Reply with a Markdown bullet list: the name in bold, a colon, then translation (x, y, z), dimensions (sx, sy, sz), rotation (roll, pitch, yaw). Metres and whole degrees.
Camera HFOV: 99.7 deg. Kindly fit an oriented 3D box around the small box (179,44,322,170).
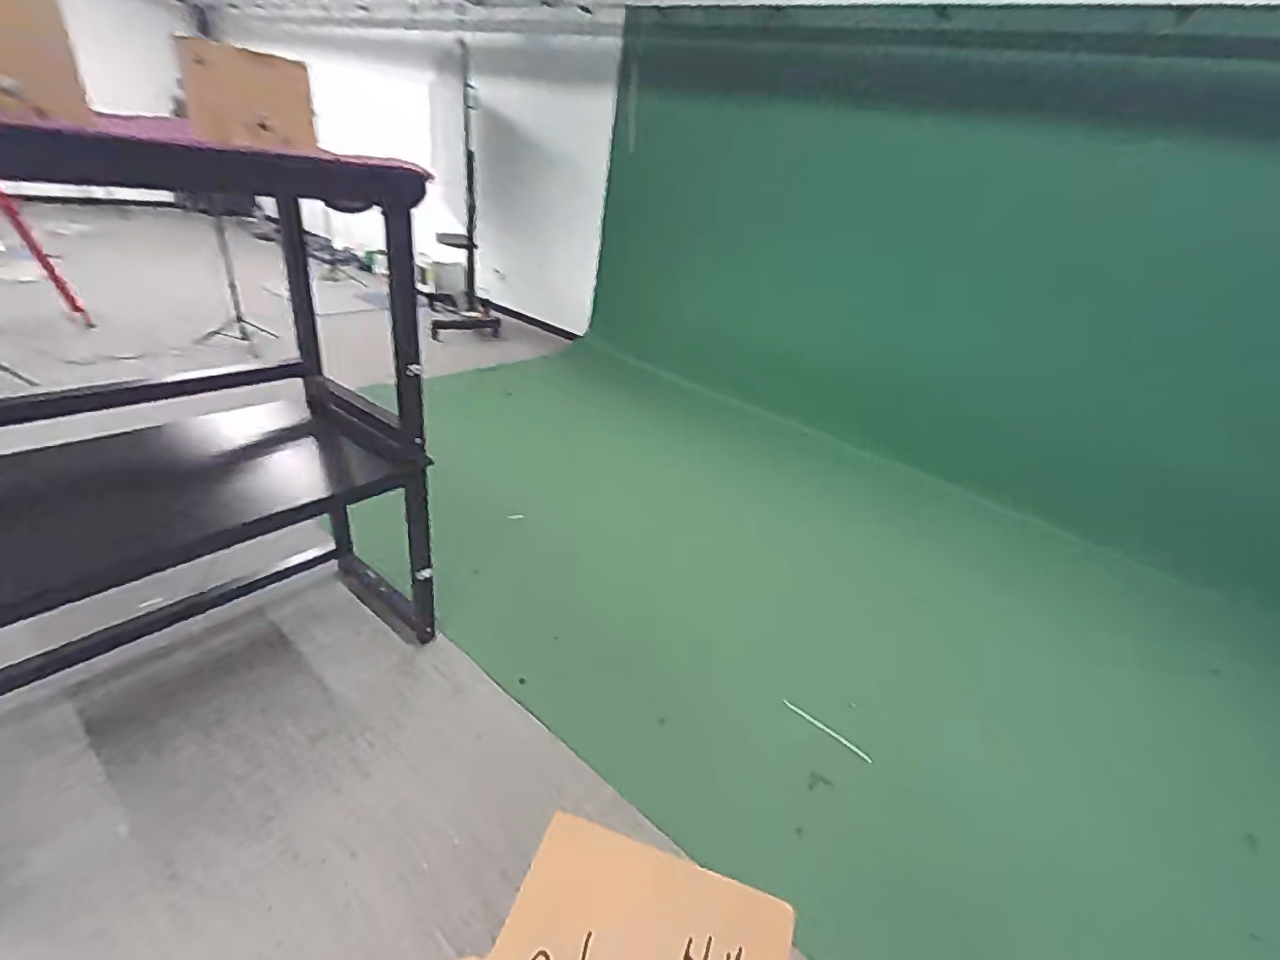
- **small box**: translation (-0.751, -0.719, 1.052), dimensions (0.179, 0.176, 0.168), rotation (30, 36, 28)
